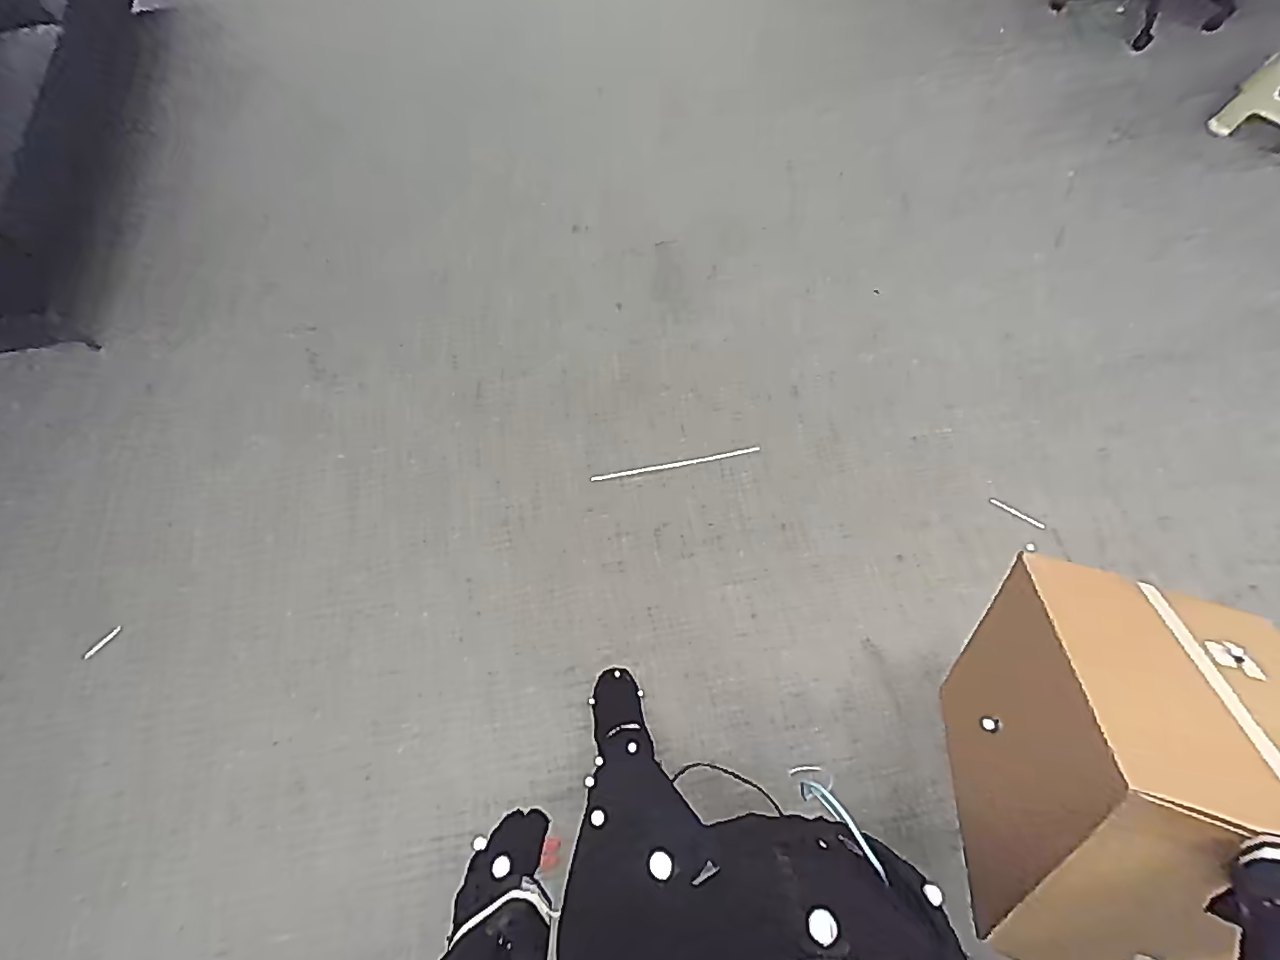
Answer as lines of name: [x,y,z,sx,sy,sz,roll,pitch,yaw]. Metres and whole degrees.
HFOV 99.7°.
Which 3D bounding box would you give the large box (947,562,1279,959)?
large box: [0.635,0.375,0.688,0.320,0.320,0.408,16,29,14]
